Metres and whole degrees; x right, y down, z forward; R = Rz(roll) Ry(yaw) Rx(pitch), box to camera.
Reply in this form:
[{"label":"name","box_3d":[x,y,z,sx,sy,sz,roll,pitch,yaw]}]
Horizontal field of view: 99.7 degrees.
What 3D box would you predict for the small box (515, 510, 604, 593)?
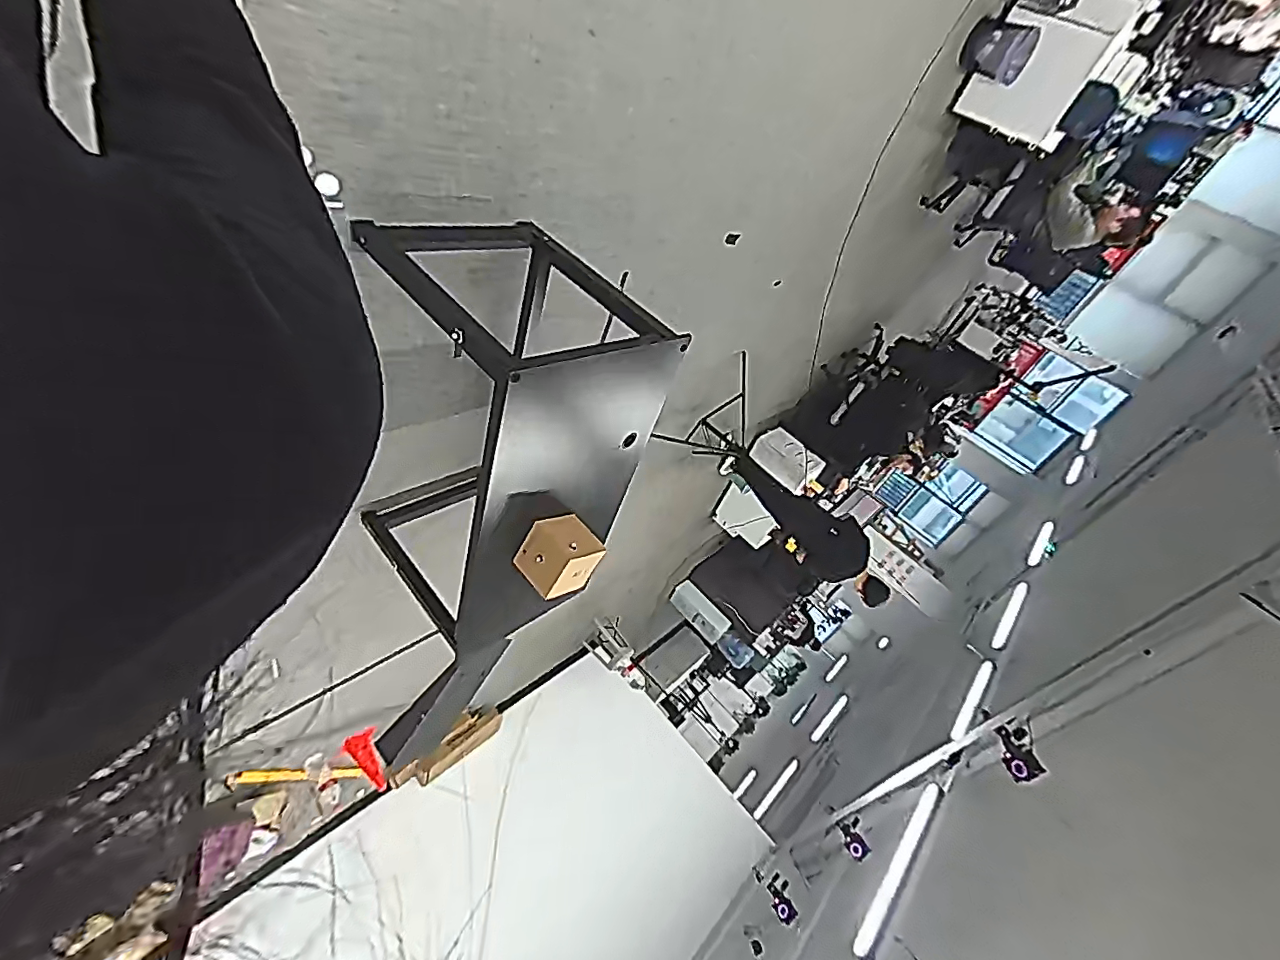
[{"label":"small box","box_3d":[-0.250,0.212,1.649,0.179,0.176,0.168,-8,137,-57]}]
